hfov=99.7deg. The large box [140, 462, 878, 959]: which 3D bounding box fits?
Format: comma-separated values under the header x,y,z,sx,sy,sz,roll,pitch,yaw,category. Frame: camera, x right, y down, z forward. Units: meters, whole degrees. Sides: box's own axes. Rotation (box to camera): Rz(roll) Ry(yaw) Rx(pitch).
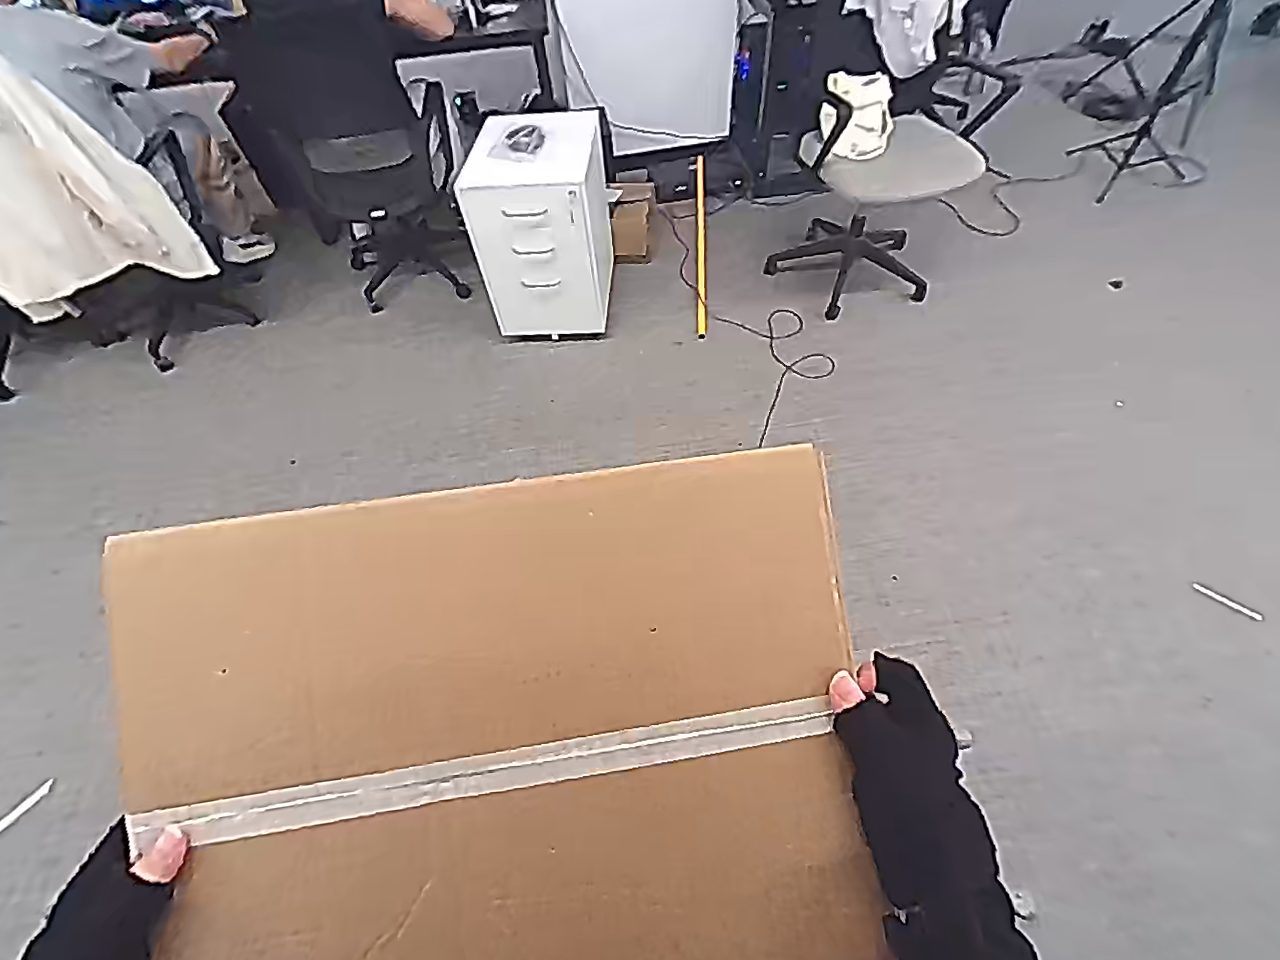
x,y,z,sx,sy,sz,roll,pitch,yaw,category
-0.079,0.175,0.467,0.408,0.320,0.320,-8,87,-4,large box
